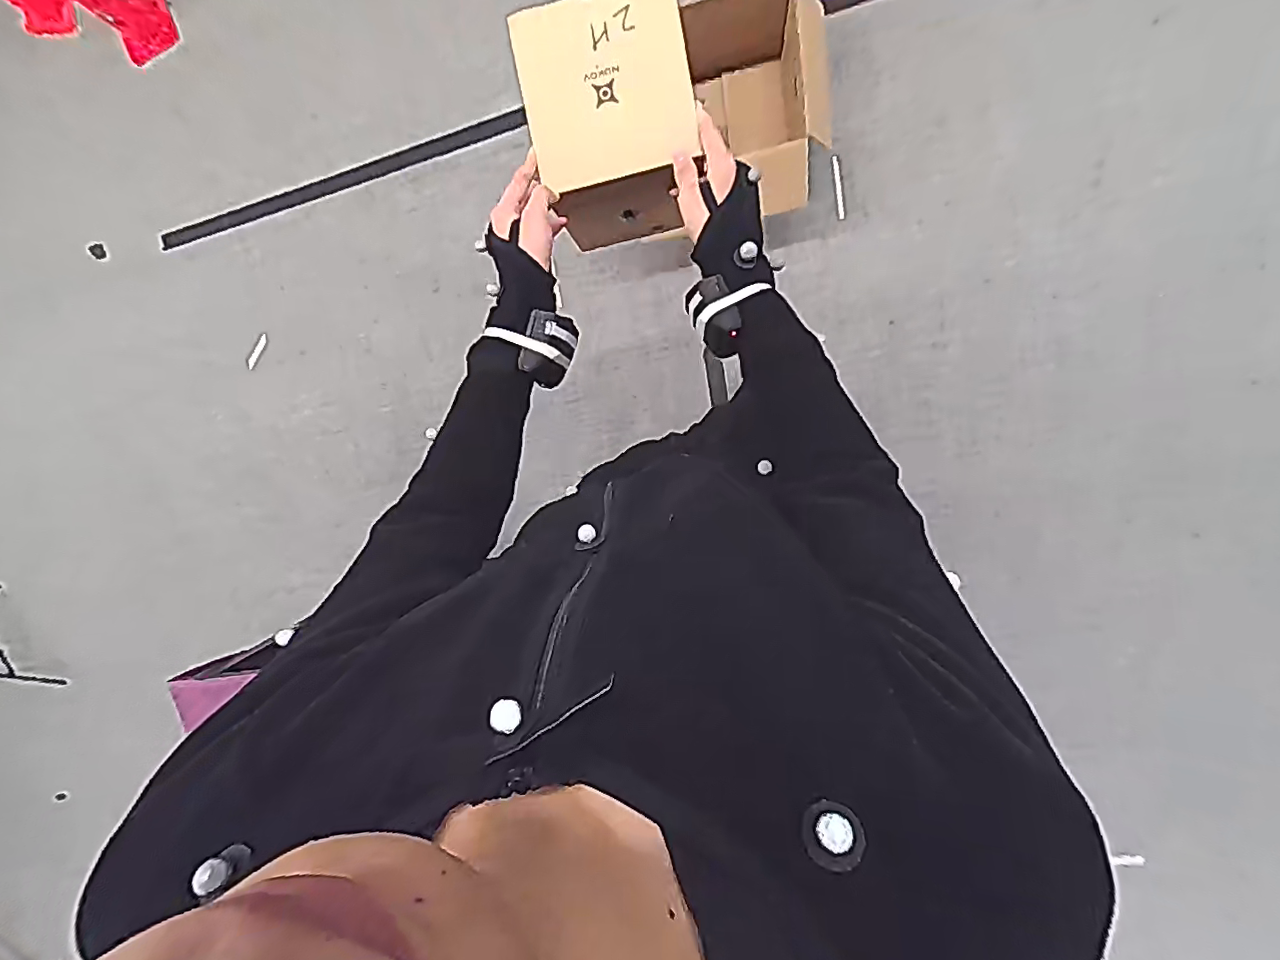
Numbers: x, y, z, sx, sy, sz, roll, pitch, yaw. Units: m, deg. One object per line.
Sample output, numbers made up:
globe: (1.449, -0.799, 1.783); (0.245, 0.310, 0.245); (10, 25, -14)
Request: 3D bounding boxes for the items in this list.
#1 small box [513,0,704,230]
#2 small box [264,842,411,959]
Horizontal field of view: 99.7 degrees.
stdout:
small box: (-0.022, -0.403, 0.607); (0.168, 0.176, 0.179); (-10, 94, 7)
small box: (-0.616, 0.890, 1.119); (0.179, 0.176, 0.168); (-15, 99, 13)
